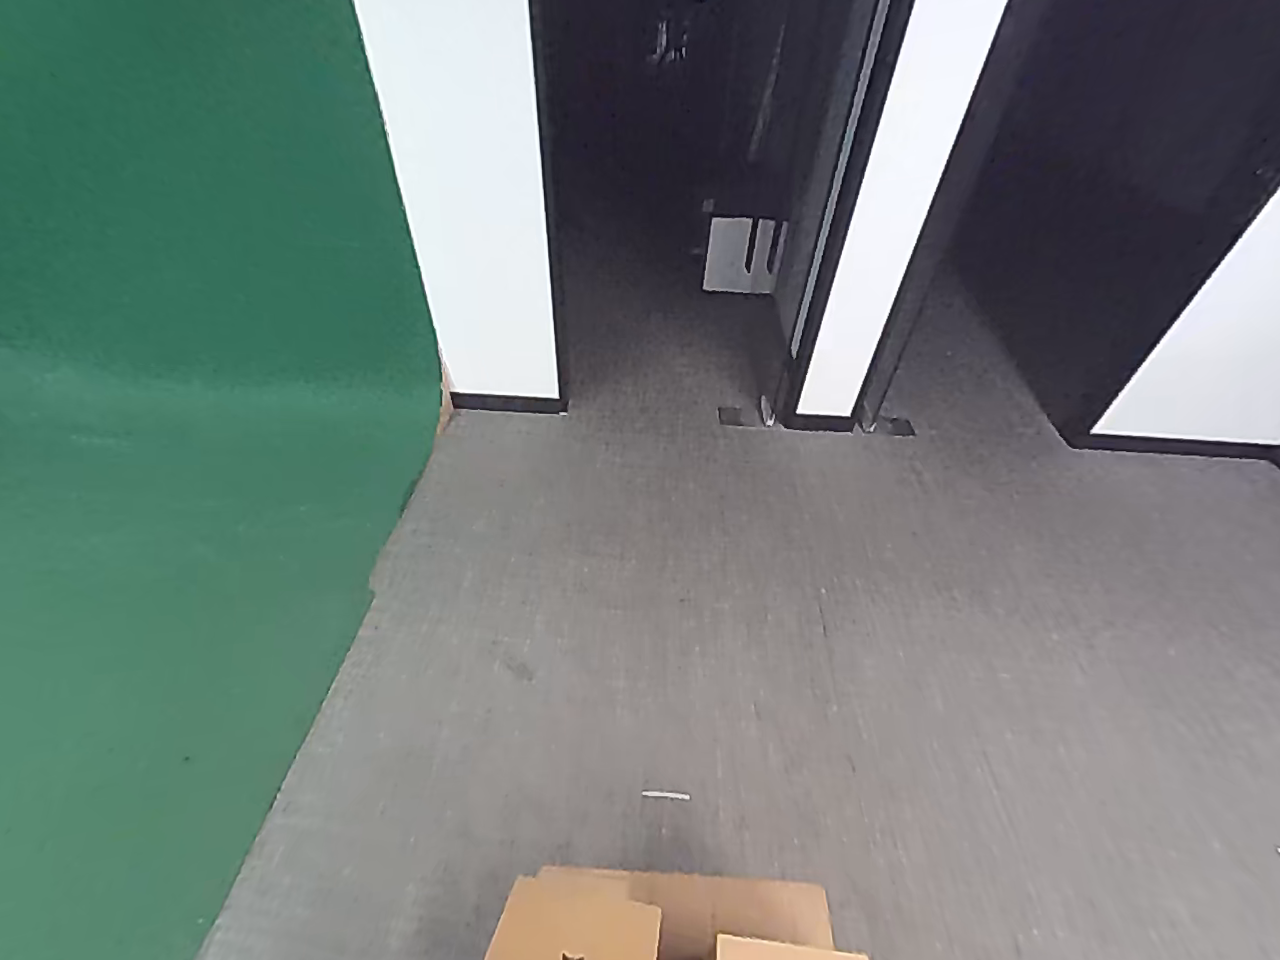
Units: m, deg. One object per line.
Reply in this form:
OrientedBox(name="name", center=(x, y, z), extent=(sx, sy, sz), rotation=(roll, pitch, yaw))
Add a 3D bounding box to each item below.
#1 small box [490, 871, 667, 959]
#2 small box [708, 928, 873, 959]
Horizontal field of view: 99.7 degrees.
OrientedBox(name="small box", center=(-0.072, 0.546, 0.532), extent=(0.168, 0.176, 0.179), rotation=(8, 10, 7))
OrientedBox(name="small box", center=(0.157, 0.615, 0.575), extent=(0.168, 0.176, 0.179), rotation=(5, 42, 4))
